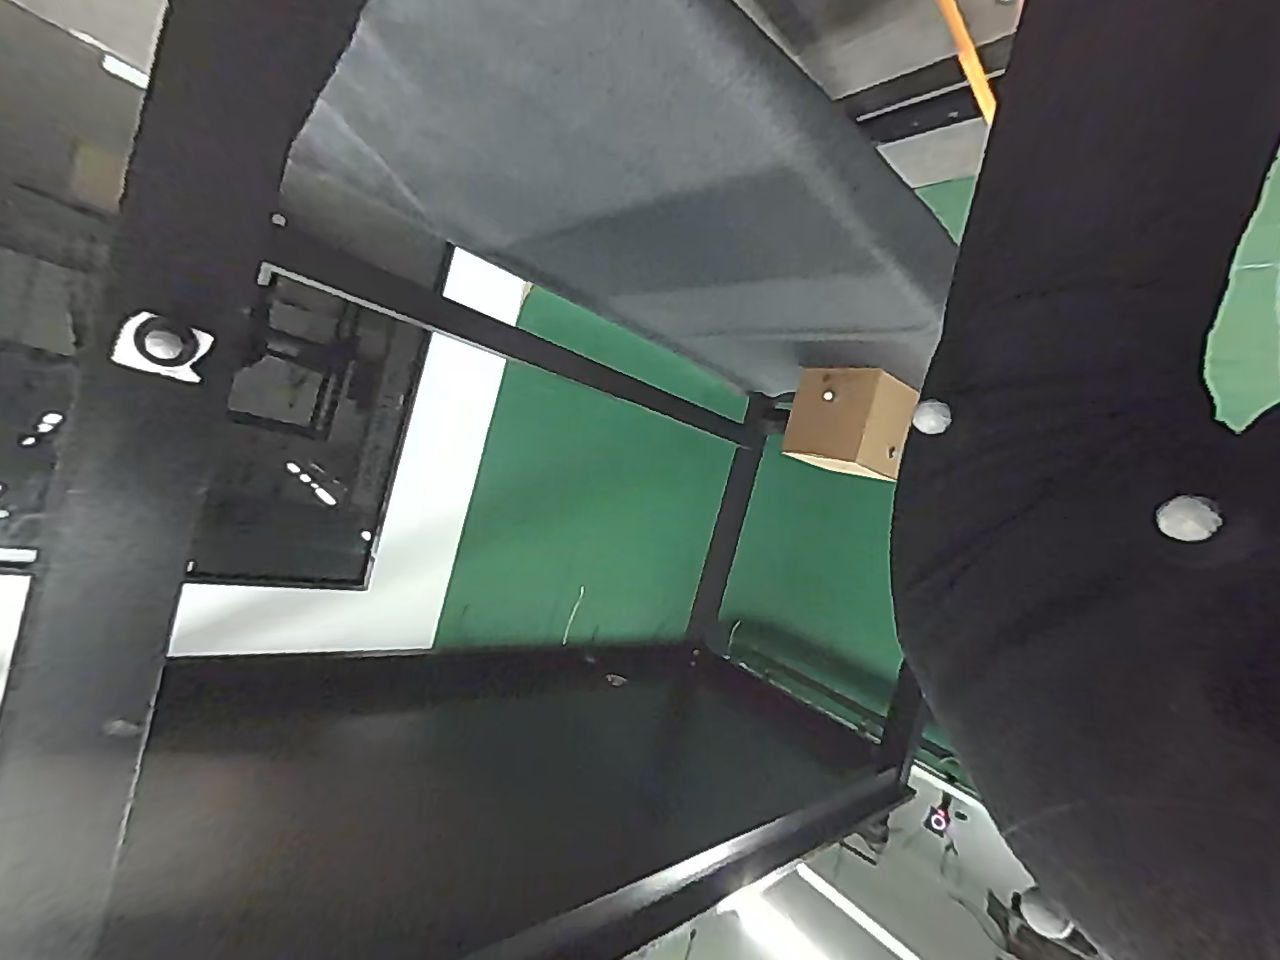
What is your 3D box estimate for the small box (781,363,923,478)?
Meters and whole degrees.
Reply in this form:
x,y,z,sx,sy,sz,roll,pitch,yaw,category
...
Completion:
x,y,z,sx,sy,sz,roll,pitch,yaw,category
0.405,-0.115,1.026,0.179,0.176,0.168,15,-179,-36,small box
